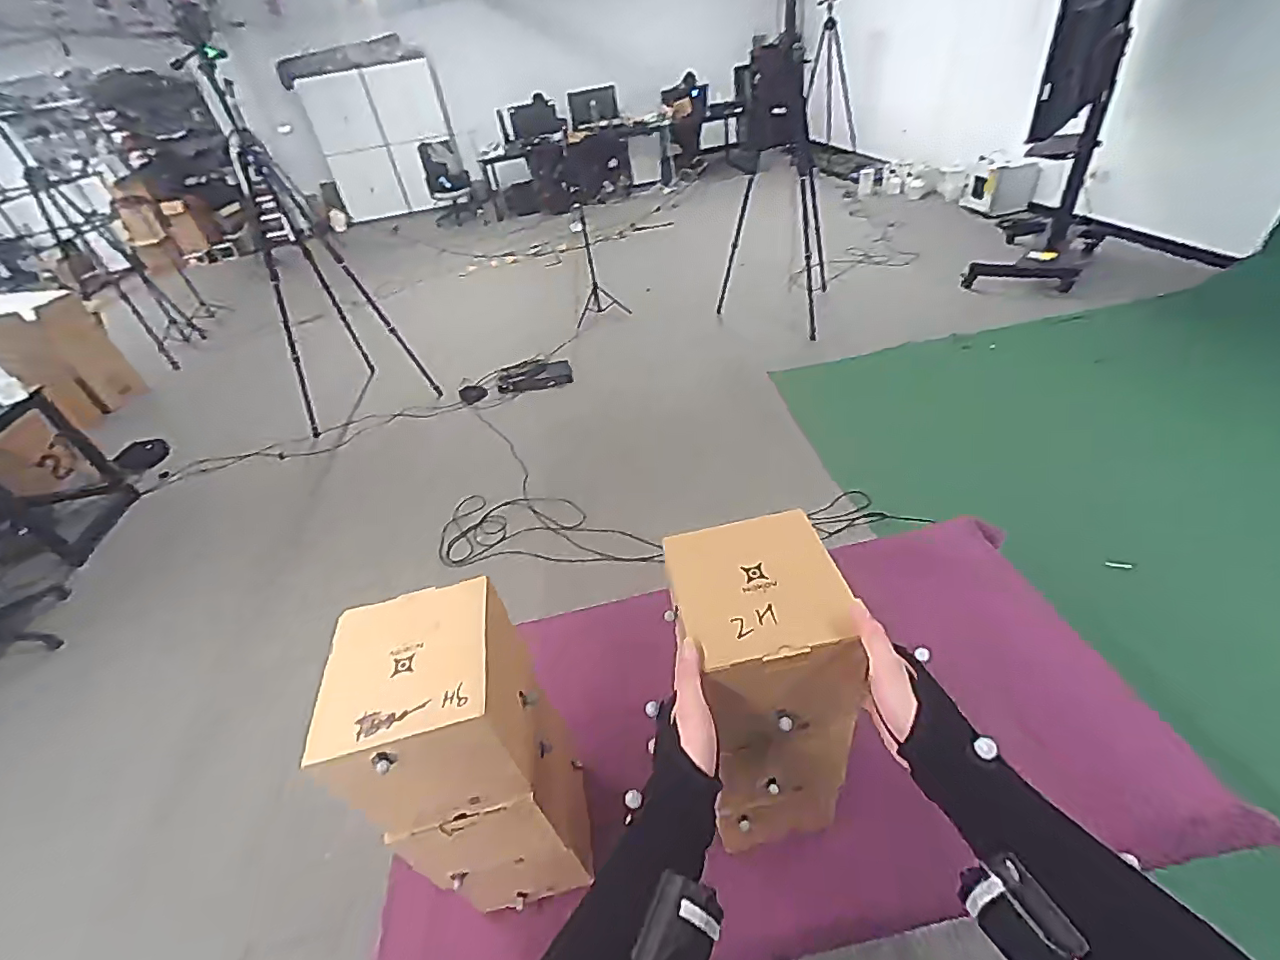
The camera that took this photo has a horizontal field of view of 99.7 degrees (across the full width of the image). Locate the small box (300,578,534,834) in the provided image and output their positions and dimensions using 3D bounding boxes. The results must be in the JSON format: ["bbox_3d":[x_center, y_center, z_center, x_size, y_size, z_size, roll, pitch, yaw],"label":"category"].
[{"bbox_3d":[-0.220,0.242,0.588,0.168,0.176,0.179,-16,38,-3],"label":"small box"}]

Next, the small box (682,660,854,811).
[{"bbox_3d":[0.152,0.290,0.704,0.168,0.176,0.179,-13,39,-3],"label":"small box"}]

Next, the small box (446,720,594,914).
[{"bbox_3d":[-0.171,0.493,0.794,0.168,0.176,0.179,-14,39,-3],"label":"small box"}]

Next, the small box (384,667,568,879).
[{"bbox_3d":[-0.194,0.373,0.685,0.168,0.176,0.179,-14,38,-3],"label":"small box"}]

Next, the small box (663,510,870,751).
[{"bbox_3d":[0.125,0.163,0.595,0.168,0.176,0.179,-12,40,-1],"label":"small box"}]
